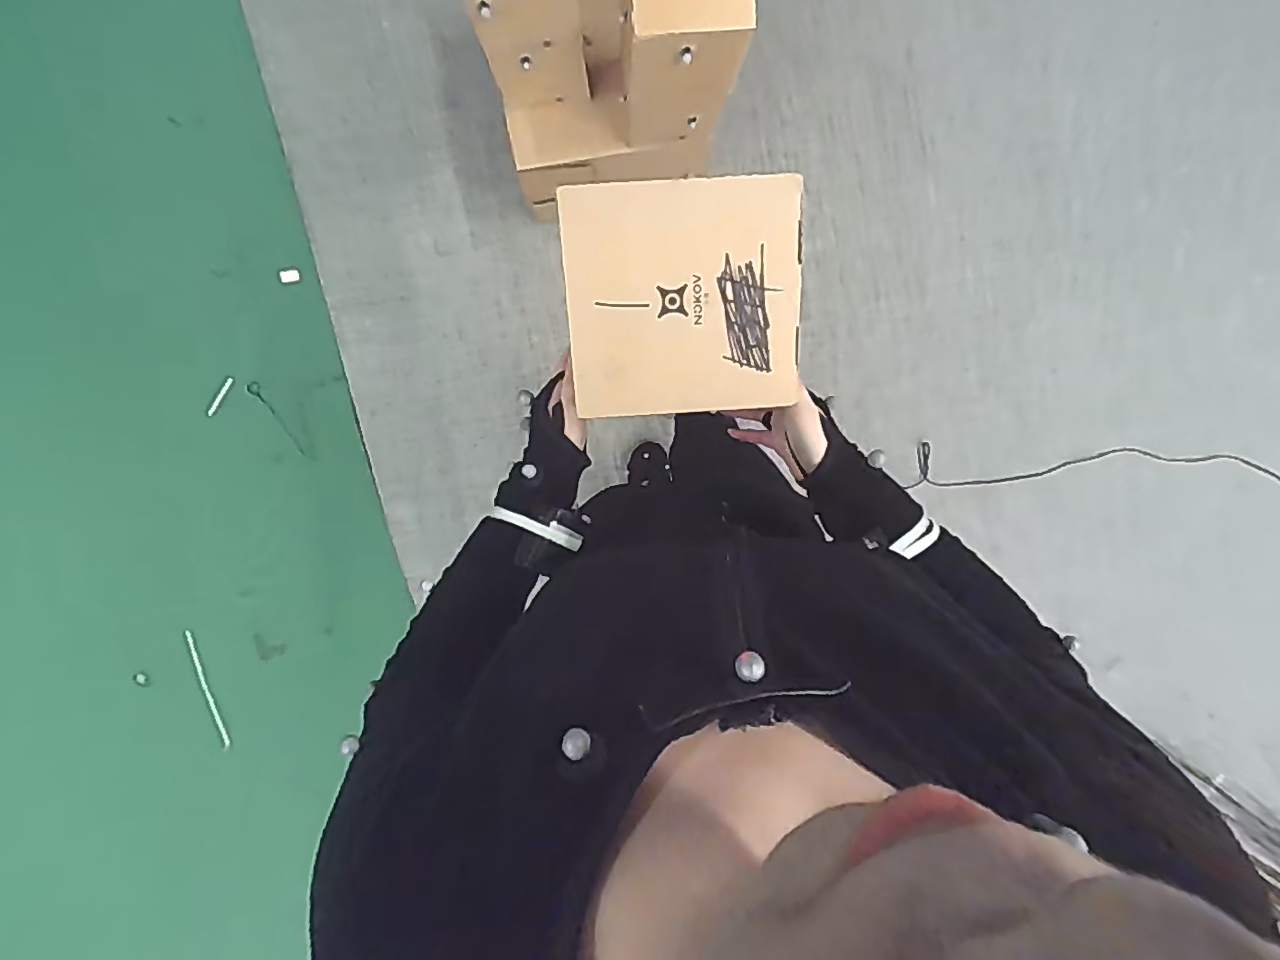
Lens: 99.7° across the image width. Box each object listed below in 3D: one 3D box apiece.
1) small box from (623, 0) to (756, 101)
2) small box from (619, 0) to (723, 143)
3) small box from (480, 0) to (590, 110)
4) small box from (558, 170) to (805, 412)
[{"bbox_3d":[0.067,-0.711,0.821,0.179,0.176,0.168,-5,97,-1],"label":"small box"},{"bbox_3d":[0.053,-0.739,0.981,0.168,0.176,0.179,-6,96,-1],"label":"small box"},{"bbox_3d":[-0.185,-0.809,0.970,0.168,0.176,0.179,-6,96,1],"label":"small box"},{"bbox_3d":[0.029,-0.157,0.473,0.179,0.176,0.168,-3,106,-1],"label":"small box"}]
